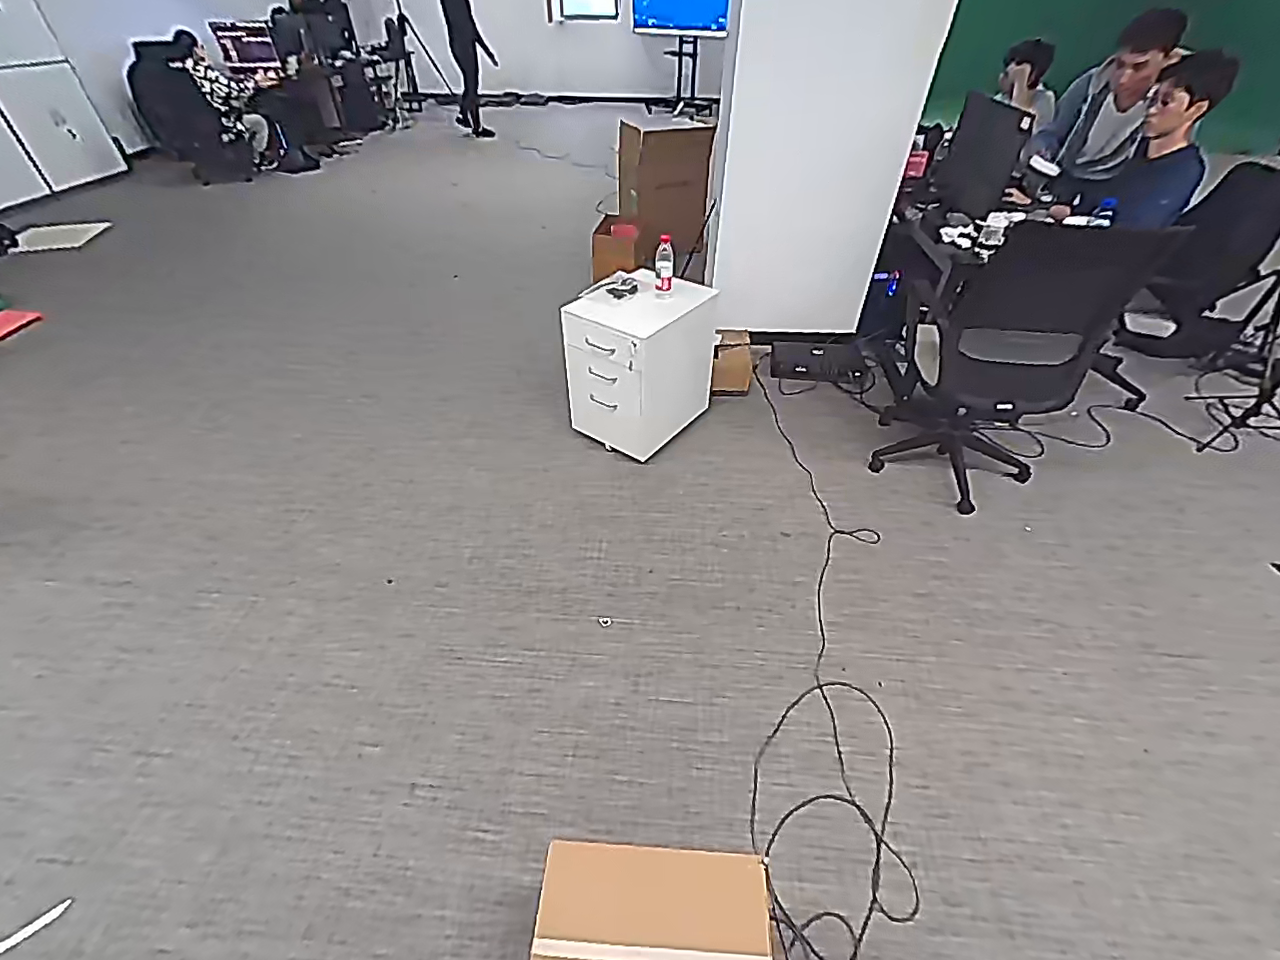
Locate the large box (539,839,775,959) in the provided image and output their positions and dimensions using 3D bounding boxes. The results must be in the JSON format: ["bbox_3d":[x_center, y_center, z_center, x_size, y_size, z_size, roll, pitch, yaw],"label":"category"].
[{"bbox_3d":[0.029,0.909,1.011,0.408,0.320,0.320,2,42,3],"label":"large box"}]
